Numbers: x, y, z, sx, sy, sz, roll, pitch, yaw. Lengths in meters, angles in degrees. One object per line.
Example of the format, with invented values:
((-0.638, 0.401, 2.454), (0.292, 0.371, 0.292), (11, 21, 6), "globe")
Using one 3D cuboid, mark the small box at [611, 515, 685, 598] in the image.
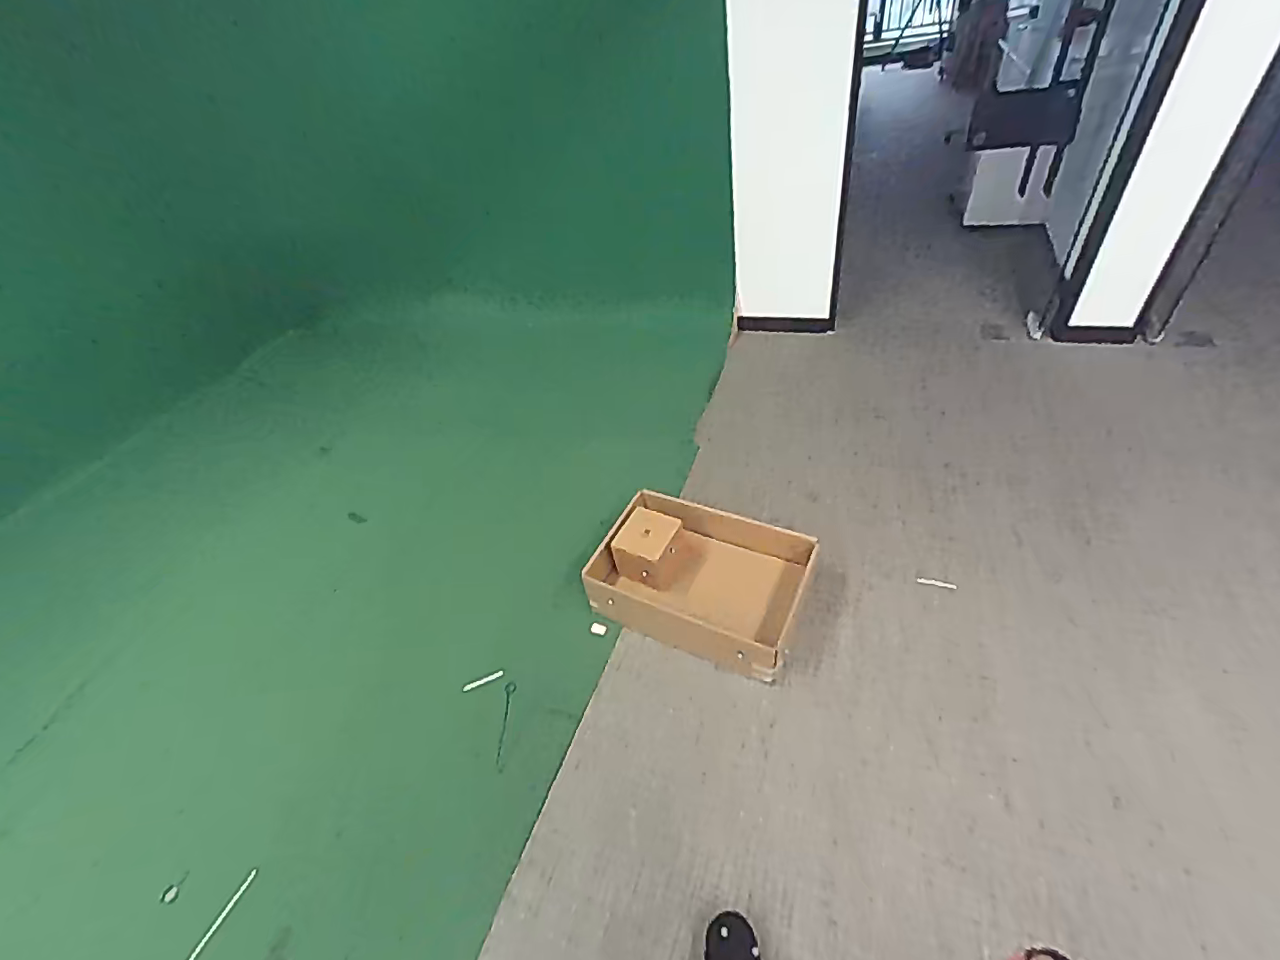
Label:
((0.034, 0.246, 1.722), (0.168, 0.176, 0.179), (18, 50, 26), "small box")
